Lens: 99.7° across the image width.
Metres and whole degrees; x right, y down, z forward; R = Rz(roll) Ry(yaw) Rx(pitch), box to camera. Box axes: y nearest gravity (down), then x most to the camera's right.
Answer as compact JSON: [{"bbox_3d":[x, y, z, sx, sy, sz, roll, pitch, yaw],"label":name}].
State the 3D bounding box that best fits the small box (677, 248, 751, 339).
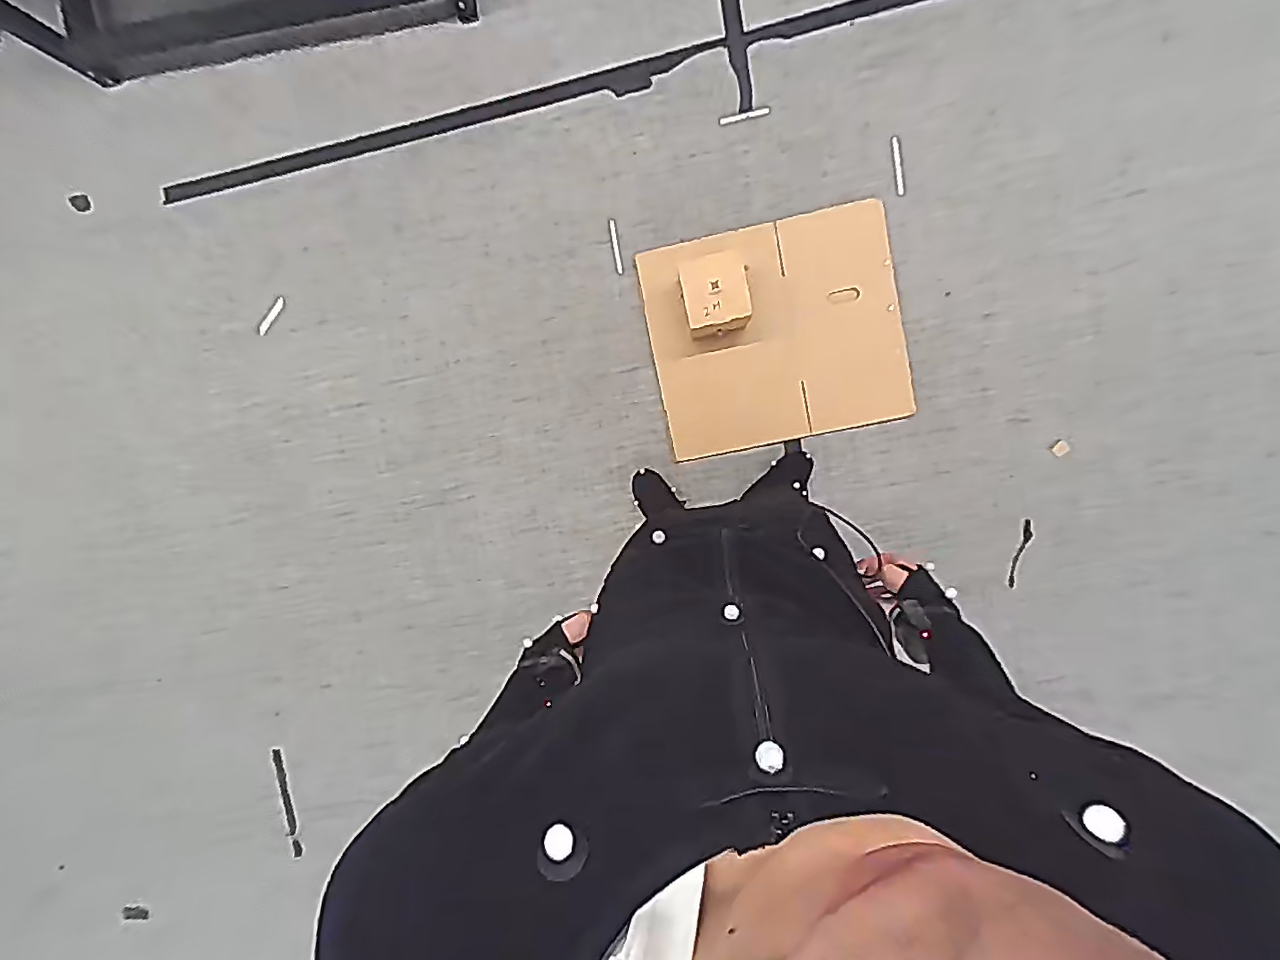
[{"bbox_3d":[0.195,-0.496,1.460,0.168,0.176,0.179,-11,95,7],"label":"small box"}]
